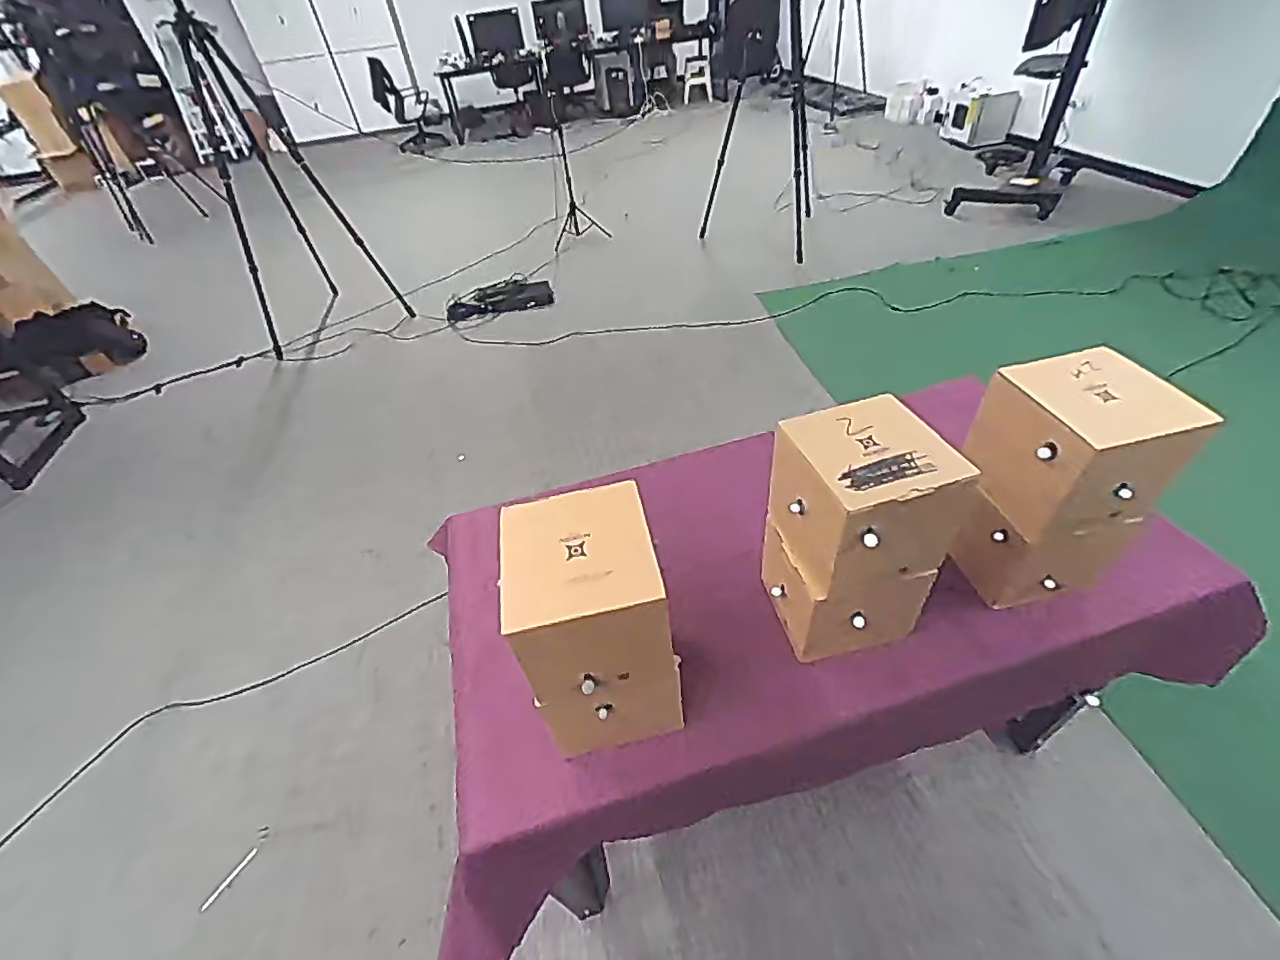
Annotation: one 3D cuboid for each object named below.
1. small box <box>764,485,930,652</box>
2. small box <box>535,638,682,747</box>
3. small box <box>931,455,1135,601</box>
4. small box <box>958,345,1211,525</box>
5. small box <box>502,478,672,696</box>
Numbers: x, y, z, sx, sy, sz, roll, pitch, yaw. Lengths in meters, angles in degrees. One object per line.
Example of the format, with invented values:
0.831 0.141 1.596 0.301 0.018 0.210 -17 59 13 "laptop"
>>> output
0.297 0.138 0.820 0.179 0.176 0.168 -13 44 -4 "small box"
-0.046 0.247 0.758 0.179 0.176 0.168 -12 44 -5 "small box"
0.597 0.062 0.855 0.168 0.176 0.179 -12 45 -3 "small box"
0.582 -0.055 0.741 0.168 0.176 0.179 -12 44 -5 "small box"
-0.061 0.128 0.647 0.168 0.176 0.179 -12 44 -3 "small box"
